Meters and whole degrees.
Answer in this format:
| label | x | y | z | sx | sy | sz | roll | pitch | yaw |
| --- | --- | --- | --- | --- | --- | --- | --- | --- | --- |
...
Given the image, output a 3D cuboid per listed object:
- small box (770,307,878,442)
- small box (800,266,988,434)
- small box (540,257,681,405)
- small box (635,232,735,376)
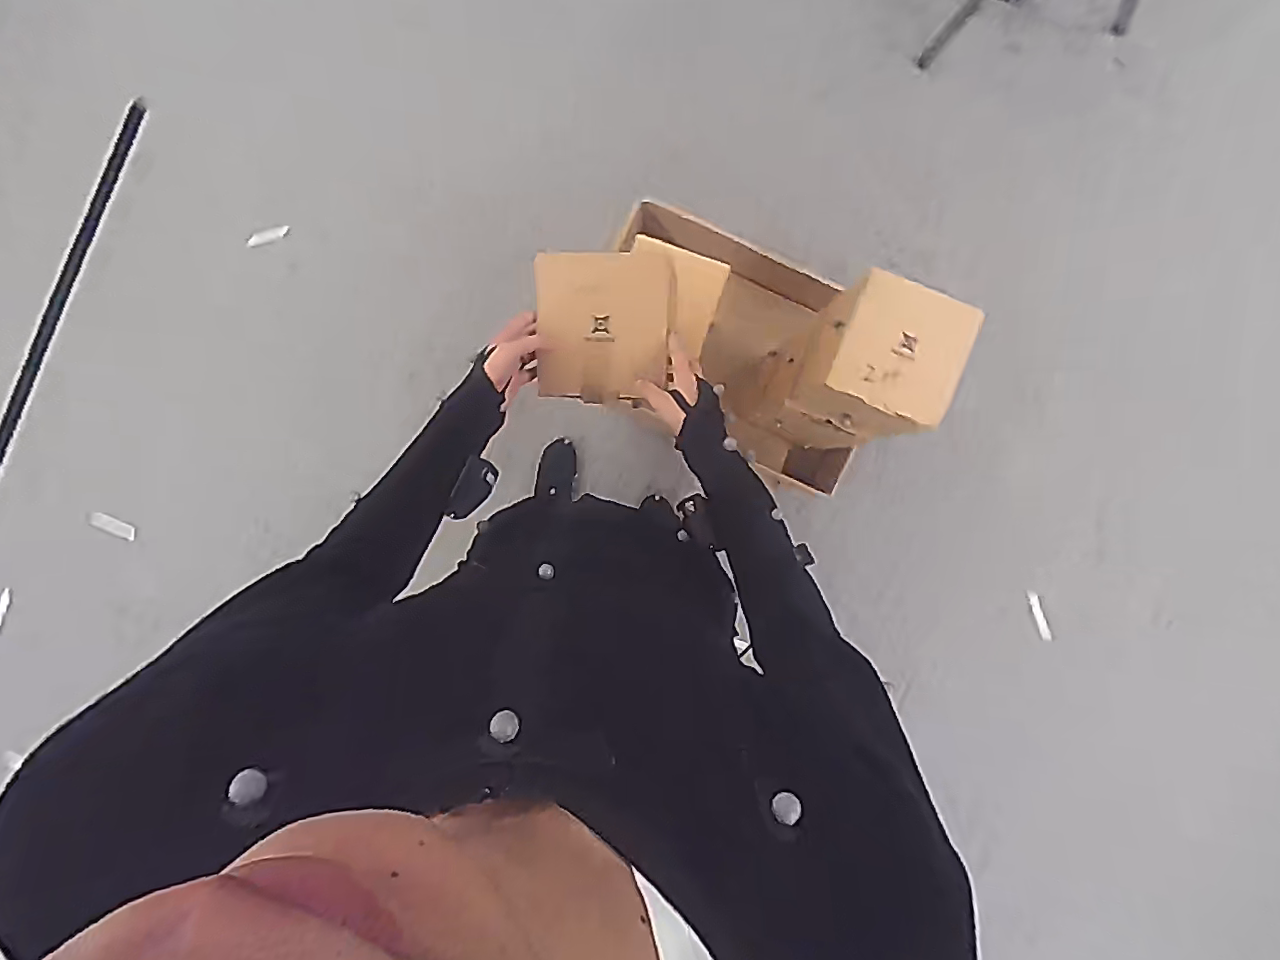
| label | x | y | z | sx | sy | sz | roll | pitch | yaw |
| --- | --- | --- | --- | --- | --- | --- | --- | --- | --- |
| small box | 0.349 | -0.177 | 0.971 | 0.168 | 0.176 | 0.179 | 23 | 91 | -1 |
| small box | 0.361 | -0.180 | 0.806 | 0.168 | 0.176 | 0.179 | 23 | 92 | 0 |
| small box | -0.032 | -0.200 | 0.740 | 0.168 | 0.176 | 0.179 | 2 | 103 | 7 |
| small box | 0.054 | -0.305 | 0.973 | 0.168 | 0.176 | 0.179 | 20 | 93 | 0 |
